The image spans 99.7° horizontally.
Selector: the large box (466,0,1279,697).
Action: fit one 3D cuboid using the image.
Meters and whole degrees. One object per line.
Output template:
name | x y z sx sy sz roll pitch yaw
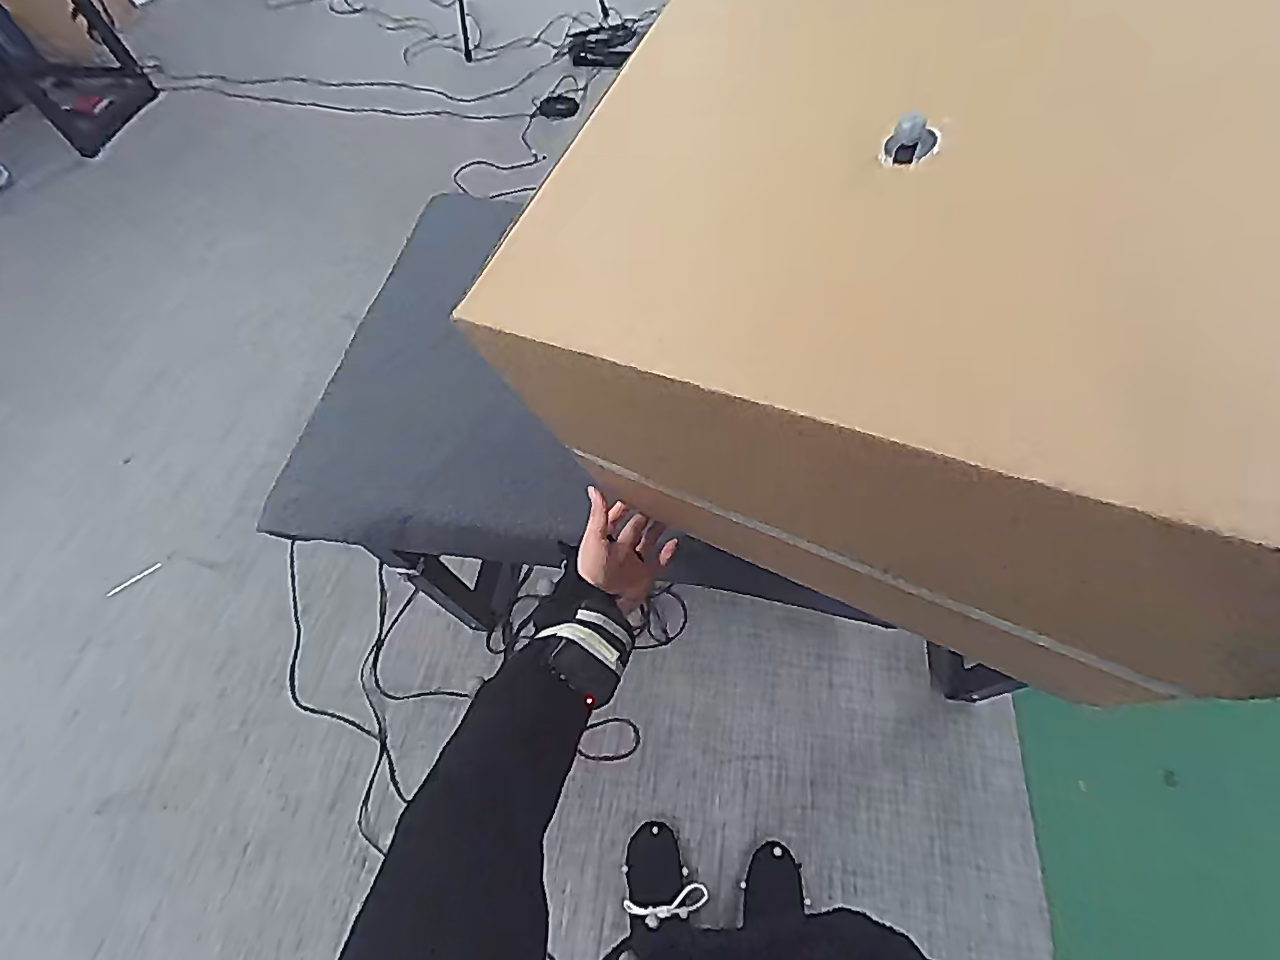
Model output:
large box | 0.172 -0.087 0.388 0.408 0.320 0.320 21 74 27
